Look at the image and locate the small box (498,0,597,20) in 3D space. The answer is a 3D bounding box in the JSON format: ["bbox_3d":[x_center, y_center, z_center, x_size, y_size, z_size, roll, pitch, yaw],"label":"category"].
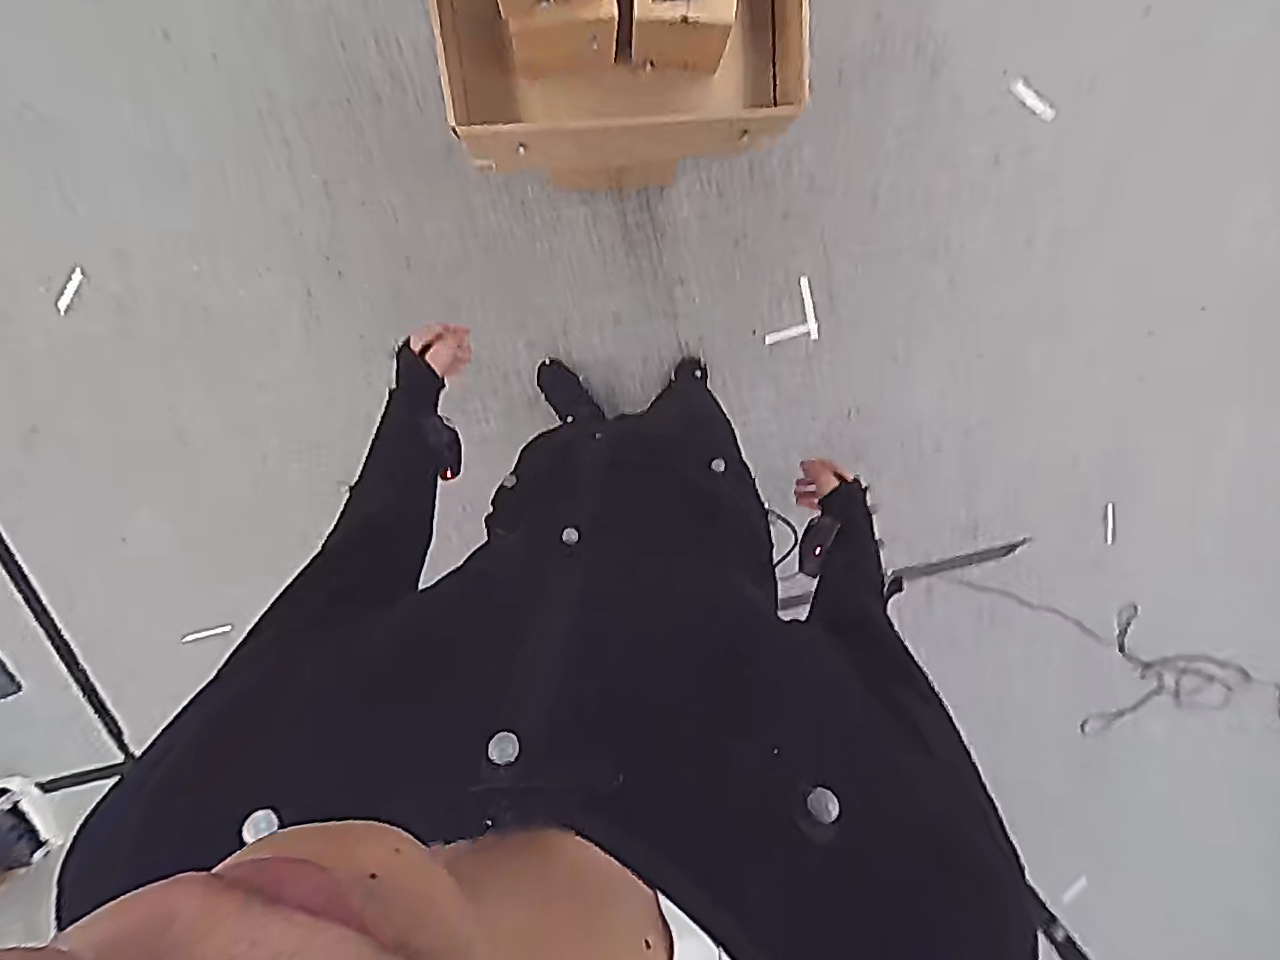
[{"bbox_3d":[-0.146,-0.794,0.744,0.168,0.176,0.179,-14,105,-1],"label":"small box"}]
